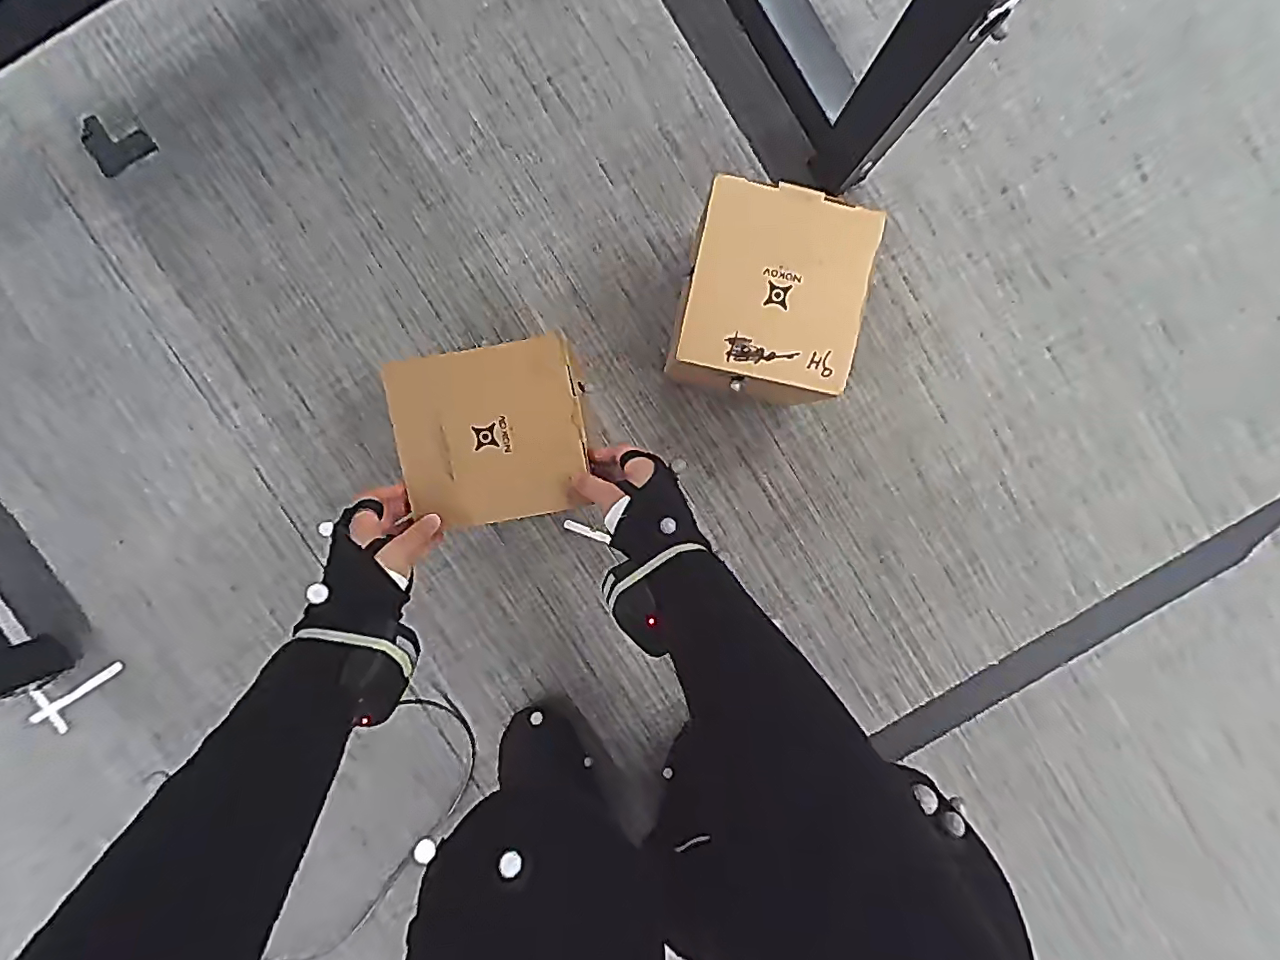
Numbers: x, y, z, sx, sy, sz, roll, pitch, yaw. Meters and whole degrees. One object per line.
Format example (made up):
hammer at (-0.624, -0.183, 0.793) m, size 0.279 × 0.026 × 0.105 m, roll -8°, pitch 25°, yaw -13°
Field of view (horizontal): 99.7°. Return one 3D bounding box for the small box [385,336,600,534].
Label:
small box at (-0.142, -0.049, 0.590) m, size 0.179 × 0.176 × 0.168 m, roll -11°, pitch 94°, yaw 0°

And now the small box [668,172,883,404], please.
small box at (0.129, -0.188, 0.583) m, size 0.168 × 0.176 × 0.179 m, roll 11°, pitch 93°, yaw -2°
